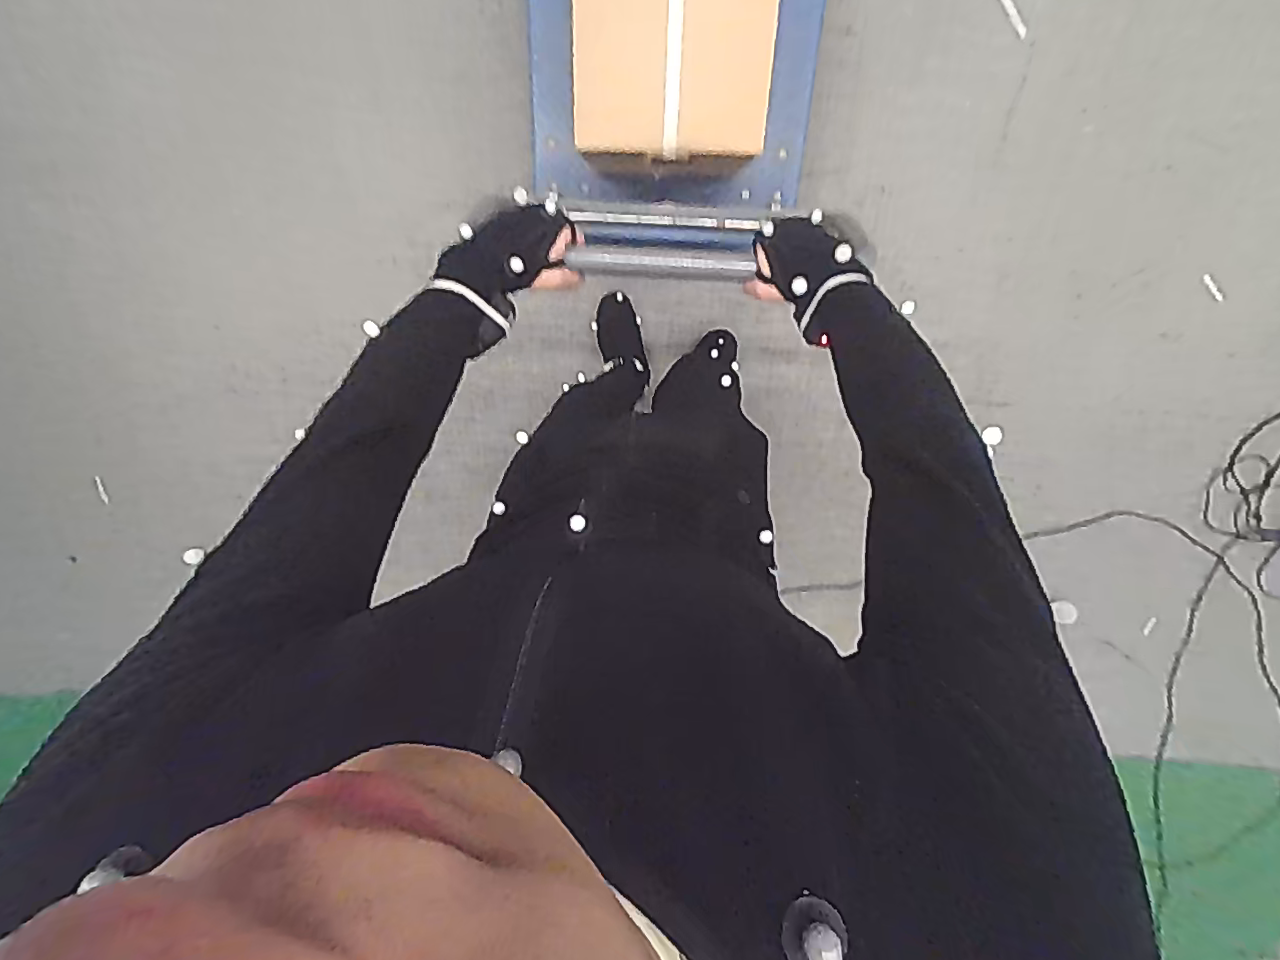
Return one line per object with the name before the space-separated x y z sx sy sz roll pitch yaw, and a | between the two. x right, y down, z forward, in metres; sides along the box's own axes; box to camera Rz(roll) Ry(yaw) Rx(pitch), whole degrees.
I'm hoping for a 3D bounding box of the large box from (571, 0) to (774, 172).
large box | 0.057 -0.787 0.951 0.320 0.320 0.408 2 114 1
